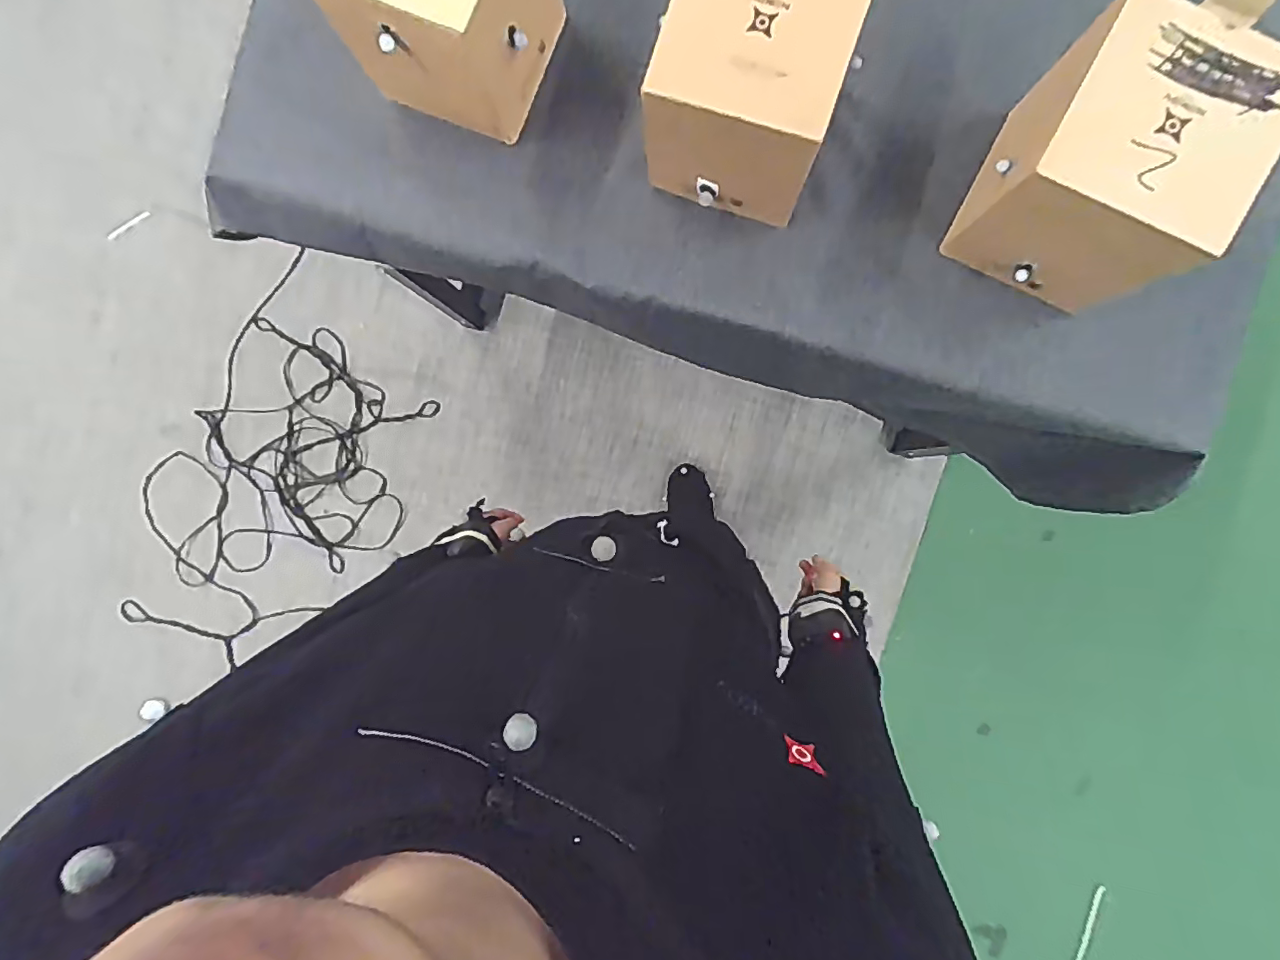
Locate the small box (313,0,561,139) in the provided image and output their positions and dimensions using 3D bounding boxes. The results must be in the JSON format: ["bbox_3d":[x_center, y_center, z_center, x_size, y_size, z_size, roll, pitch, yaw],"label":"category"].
[{"bbox_3d":[-0.198,-0.497,0.559,0.179,0.176,0.168,22,91,3],"label":"small box"}]

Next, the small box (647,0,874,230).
[{"bbox_3d":[0.112,-0.391,0.545,0.168,0.176,0.179,18,91,4],"label":"small box"}]
